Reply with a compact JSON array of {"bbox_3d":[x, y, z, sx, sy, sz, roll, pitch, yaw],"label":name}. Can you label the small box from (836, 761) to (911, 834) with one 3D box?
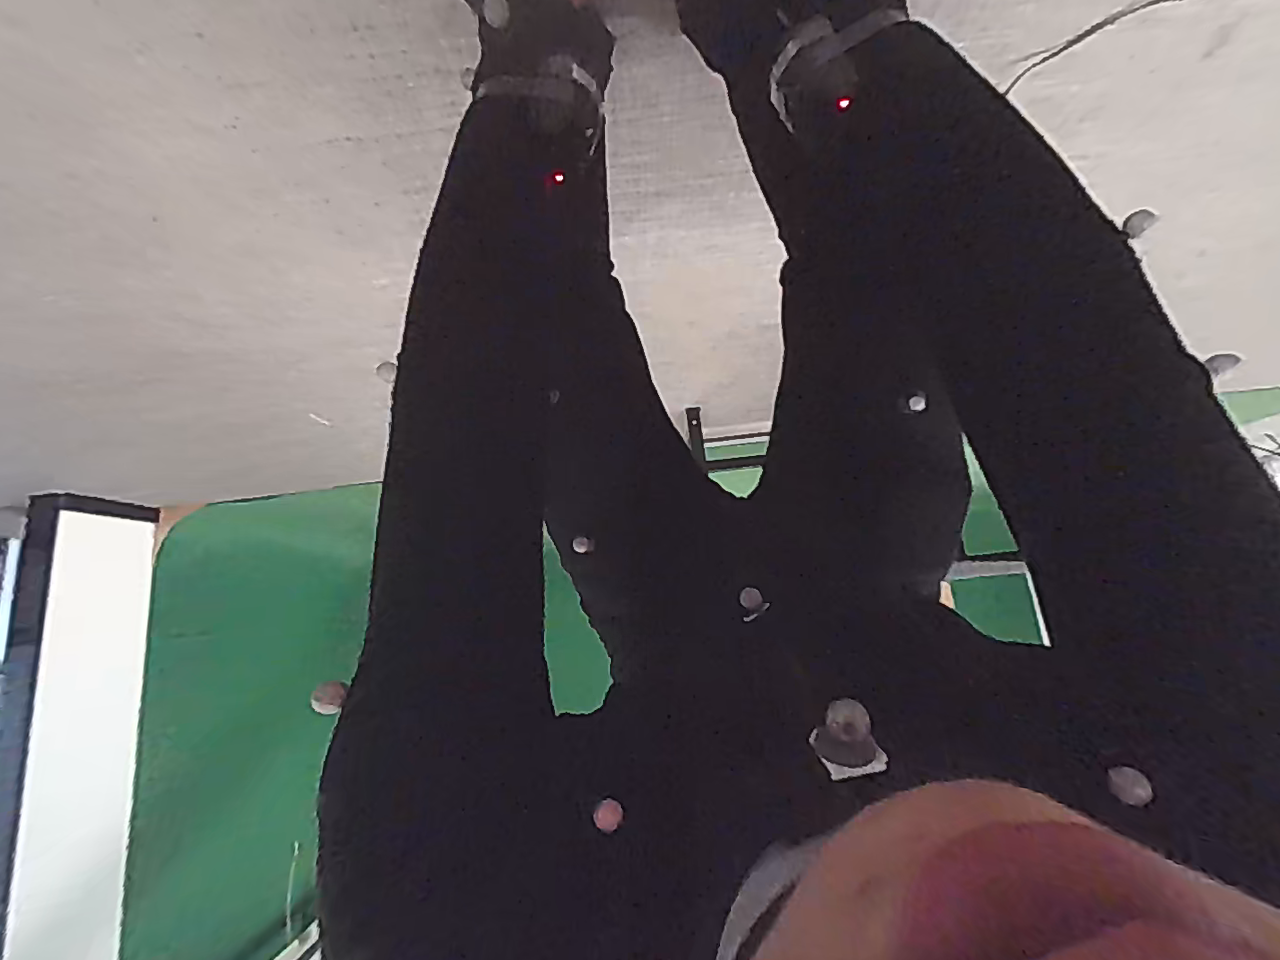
[{"bbox_3d":[0.806,1.097,1.887,0.168,0.176,0.179,-1,166,-19],"label":"small box"}]
